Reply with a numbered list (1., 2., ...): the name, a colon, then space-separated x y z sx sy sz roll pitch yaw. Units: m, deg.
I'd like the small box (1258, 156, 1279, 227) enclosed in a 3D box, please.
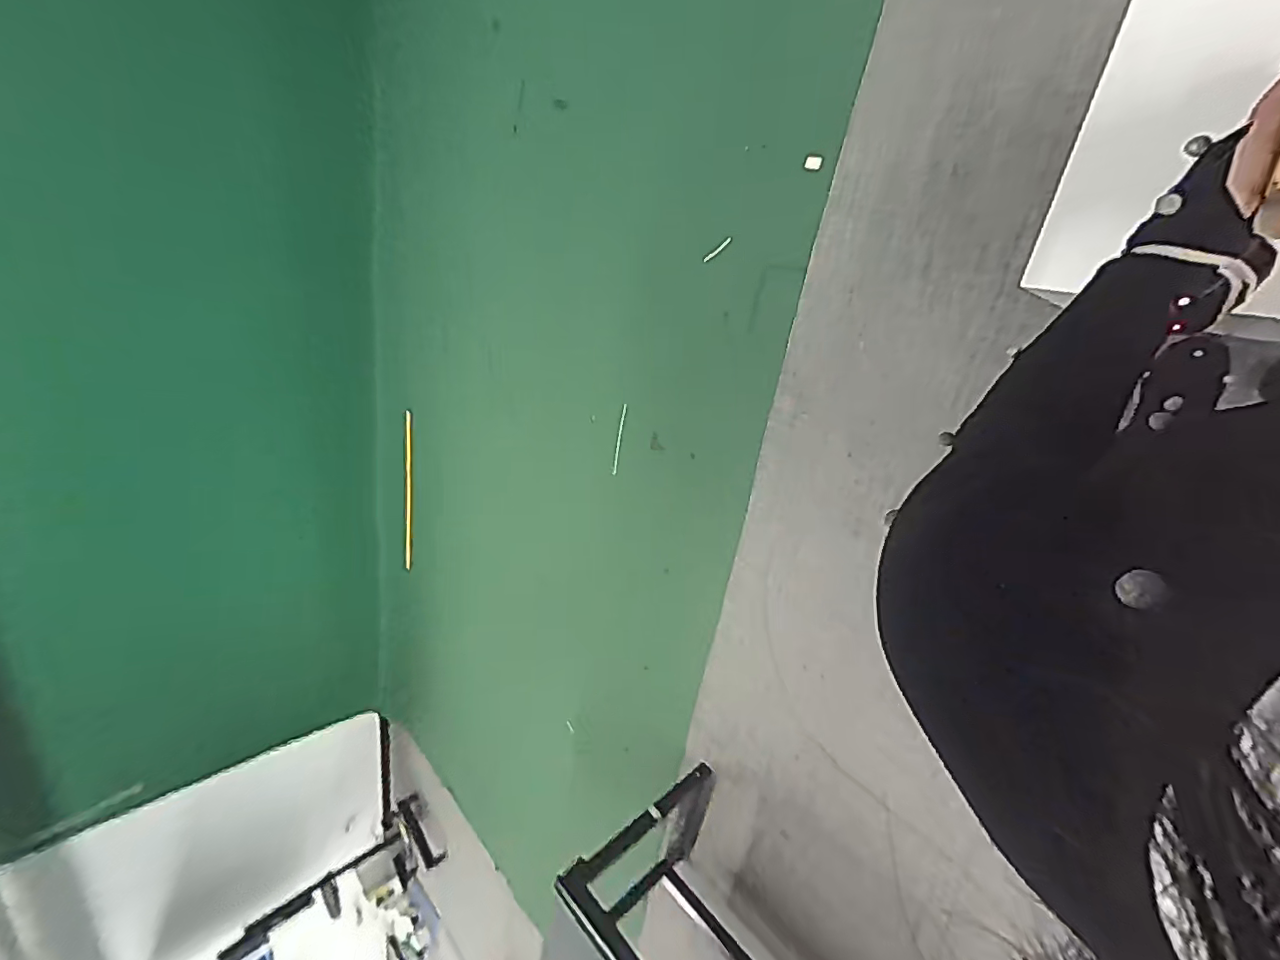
1. small box: 0.684 -0.317 0.457 0.168 0.176 0.179 30 118 38
